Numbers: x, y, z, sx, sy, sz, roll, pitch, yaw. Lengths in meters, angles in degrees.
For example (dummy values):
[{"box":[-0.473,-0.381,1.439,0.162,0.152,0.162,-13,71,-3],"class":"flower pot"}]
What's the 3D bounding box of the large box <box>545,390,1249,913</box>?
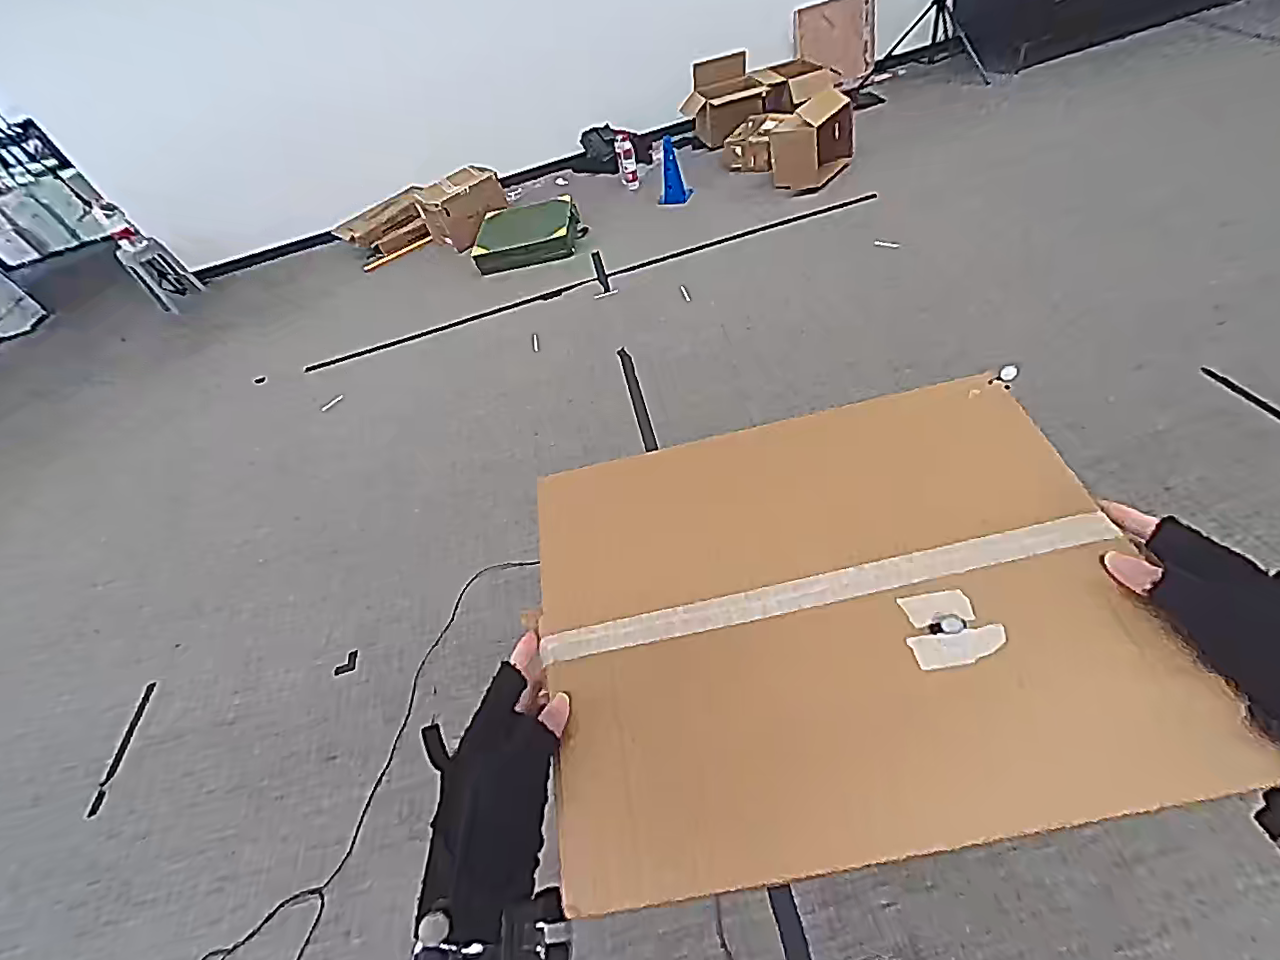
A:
[{"box":[0.154,0.170,0.519,0.408,0.320,0.320,-13,55,2],"class":"large box"}]
